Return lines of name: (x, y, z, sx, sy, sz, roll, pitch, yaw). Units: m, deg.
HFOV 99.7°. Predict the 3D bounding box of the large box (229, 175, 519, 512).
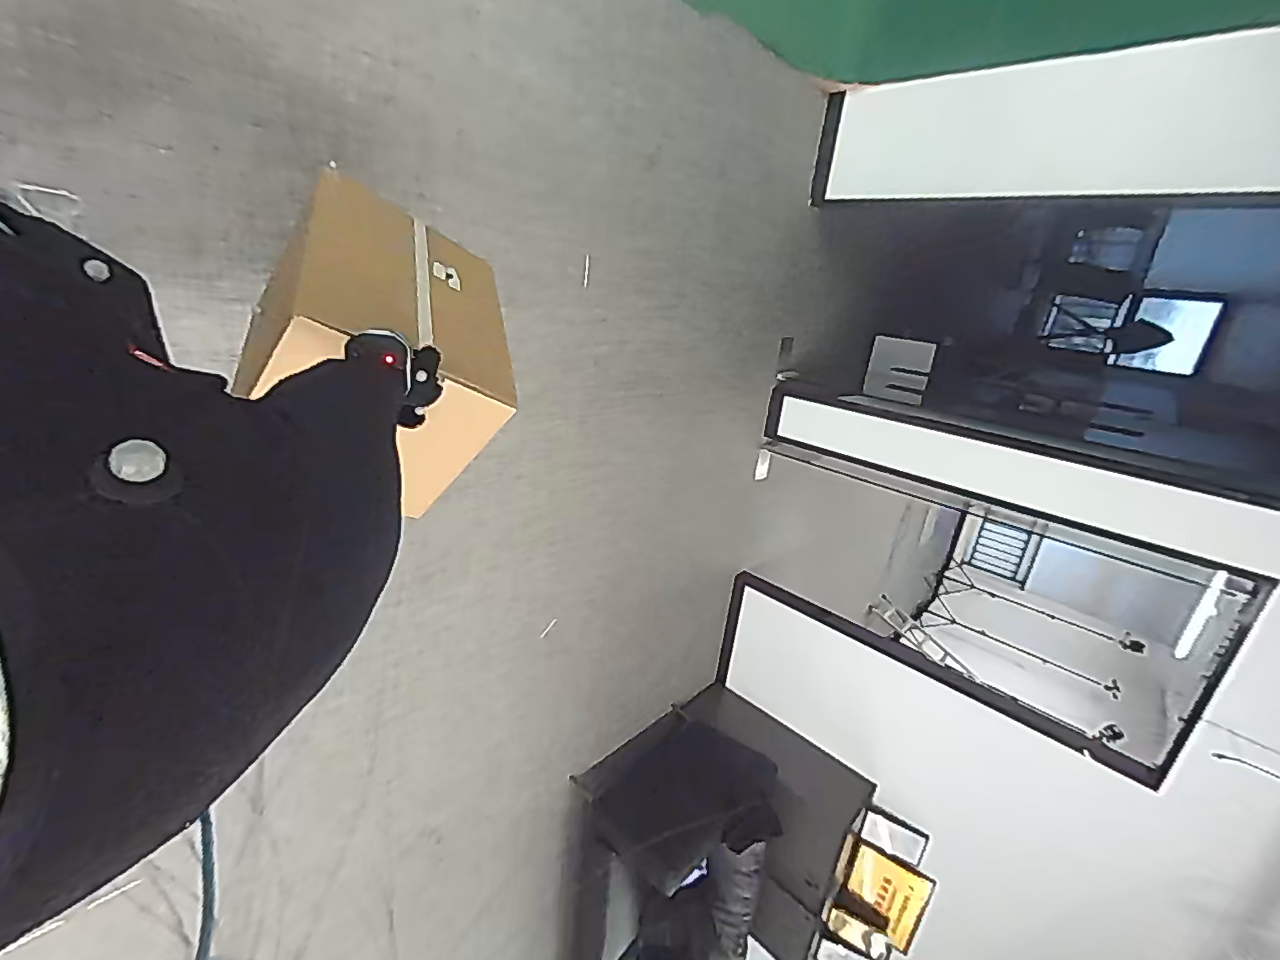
large box: (-0.446, -0.211, 0.920, 0.320, 0.408, 0.320, 22, 127, -42)
